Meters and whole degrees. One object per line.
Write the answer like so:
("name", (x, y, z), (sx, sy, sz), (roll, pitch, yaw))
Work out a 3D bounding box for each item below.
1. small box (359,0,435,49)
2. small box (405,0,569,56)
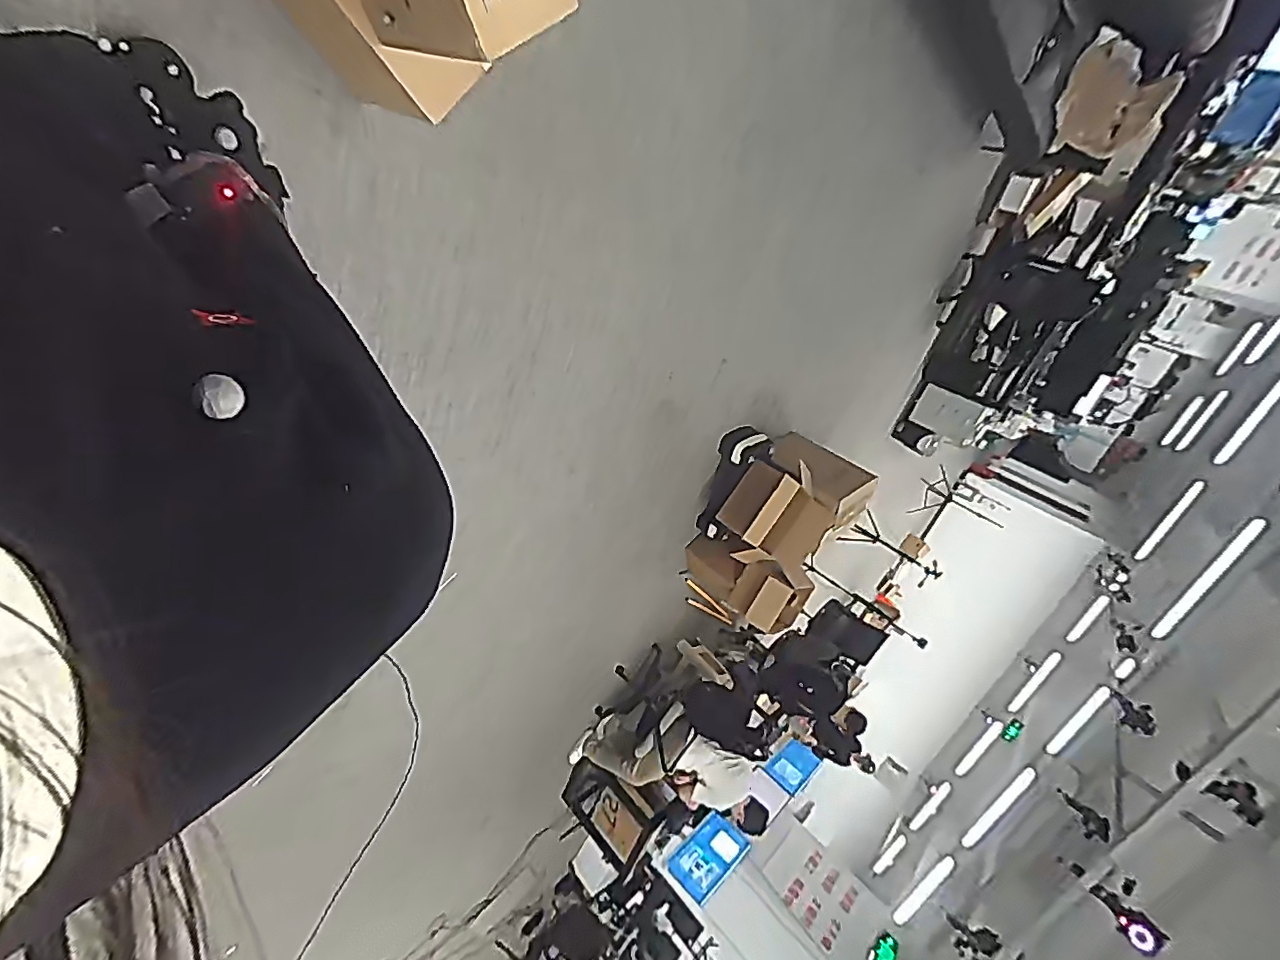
("small box", (-0.332, -0.776, 0.793), (0.168, 0.176, 0.179), (-45, 146, -16))
("small box", (-0.223, -0.692, 0.703), (0.179, 0.176, 0.168), (-45, 147, -13))
